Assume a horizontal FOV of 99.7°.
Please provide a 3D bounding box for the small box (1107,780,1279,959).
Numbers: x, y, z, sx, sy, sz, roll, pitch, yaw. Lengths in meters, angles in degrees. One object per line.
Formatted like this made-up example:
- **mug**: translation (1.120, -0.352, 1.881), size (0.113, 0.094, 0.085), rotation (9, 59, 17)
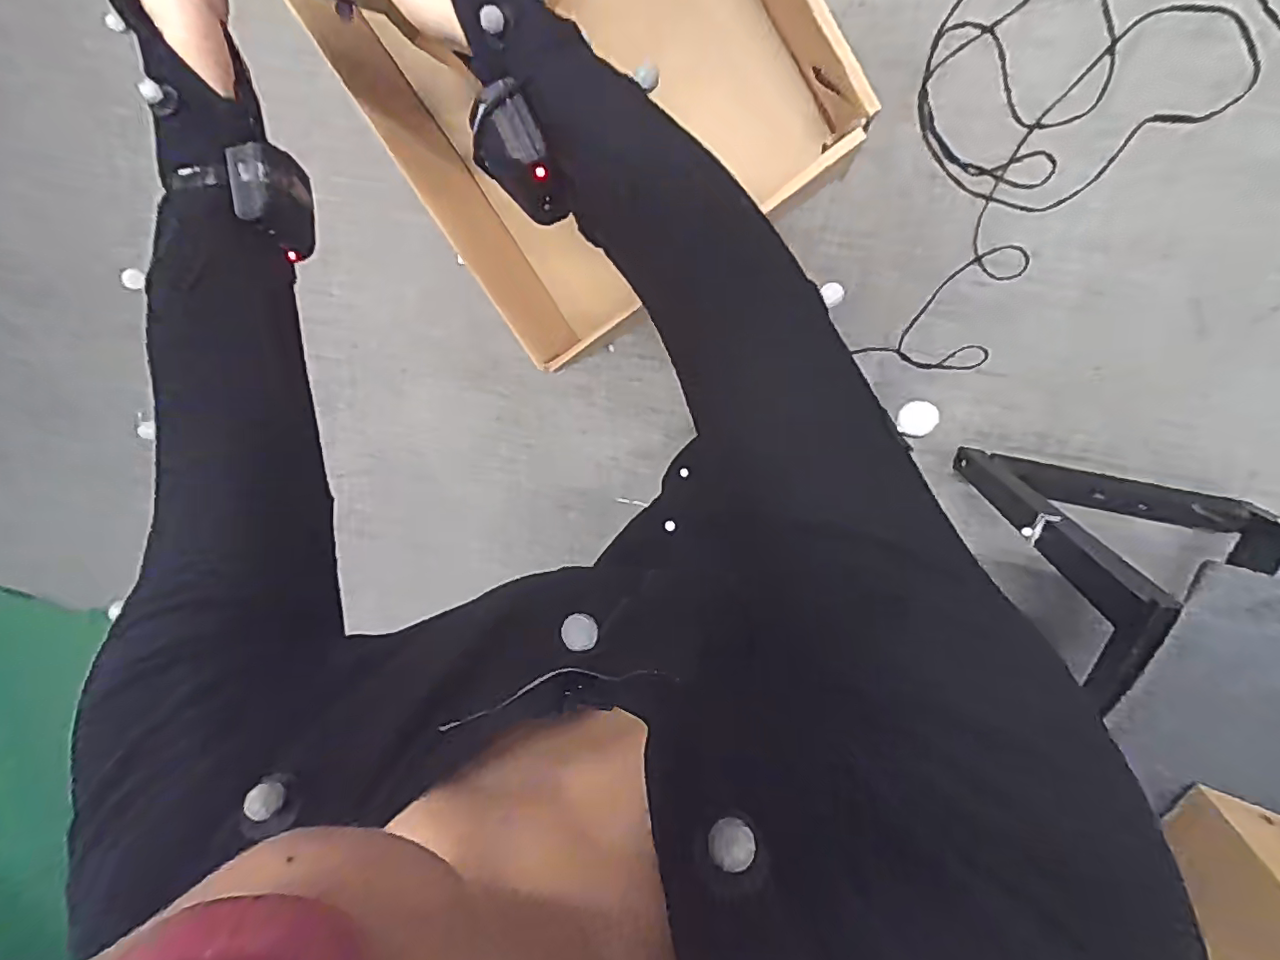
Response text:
- **small box**: translation (0.653, 0.467, 0.569), size (0.168, 0.176, 0.179), rotation (21, 112, 5)

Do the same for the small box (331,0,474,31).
- **small box**: translation (-0.226, -0.479, 0.394), size (0.168, 0.176, 0.179), rotation (19, 115, 7)
